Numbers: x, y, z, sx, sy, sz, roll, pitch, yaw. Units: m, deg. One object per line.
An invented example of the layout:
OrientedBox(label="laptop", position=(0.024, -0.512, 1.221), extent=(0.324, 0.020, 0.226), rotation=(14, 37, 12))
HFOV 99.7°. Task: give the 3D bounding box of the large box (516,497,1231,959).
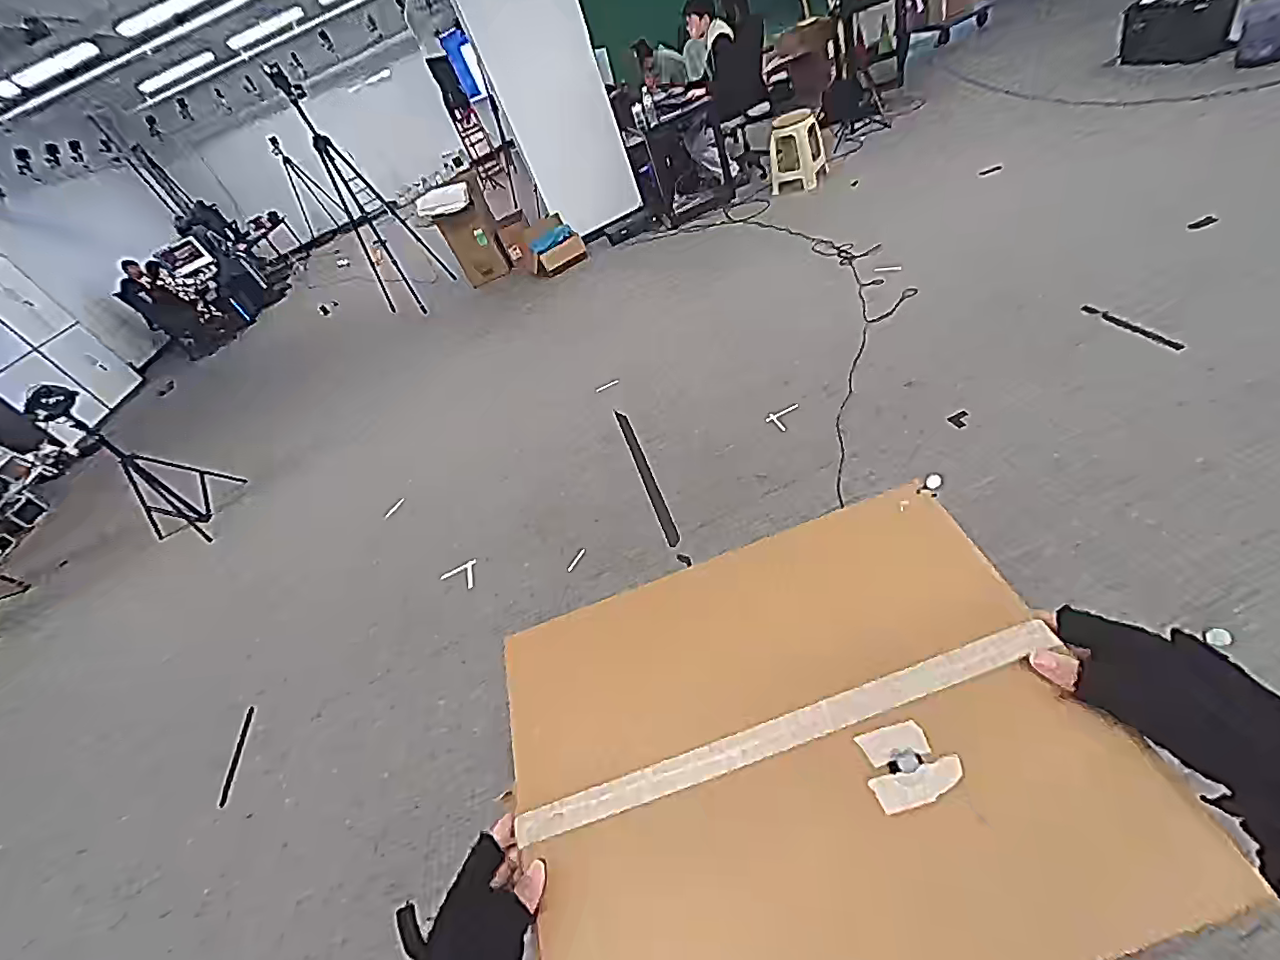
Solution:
OrientedBox(label="large box", position=(0.144, 0.286, 0.509), extent=(0.408, 0.320, 0.320), rotation=(-21, 48, 1))
